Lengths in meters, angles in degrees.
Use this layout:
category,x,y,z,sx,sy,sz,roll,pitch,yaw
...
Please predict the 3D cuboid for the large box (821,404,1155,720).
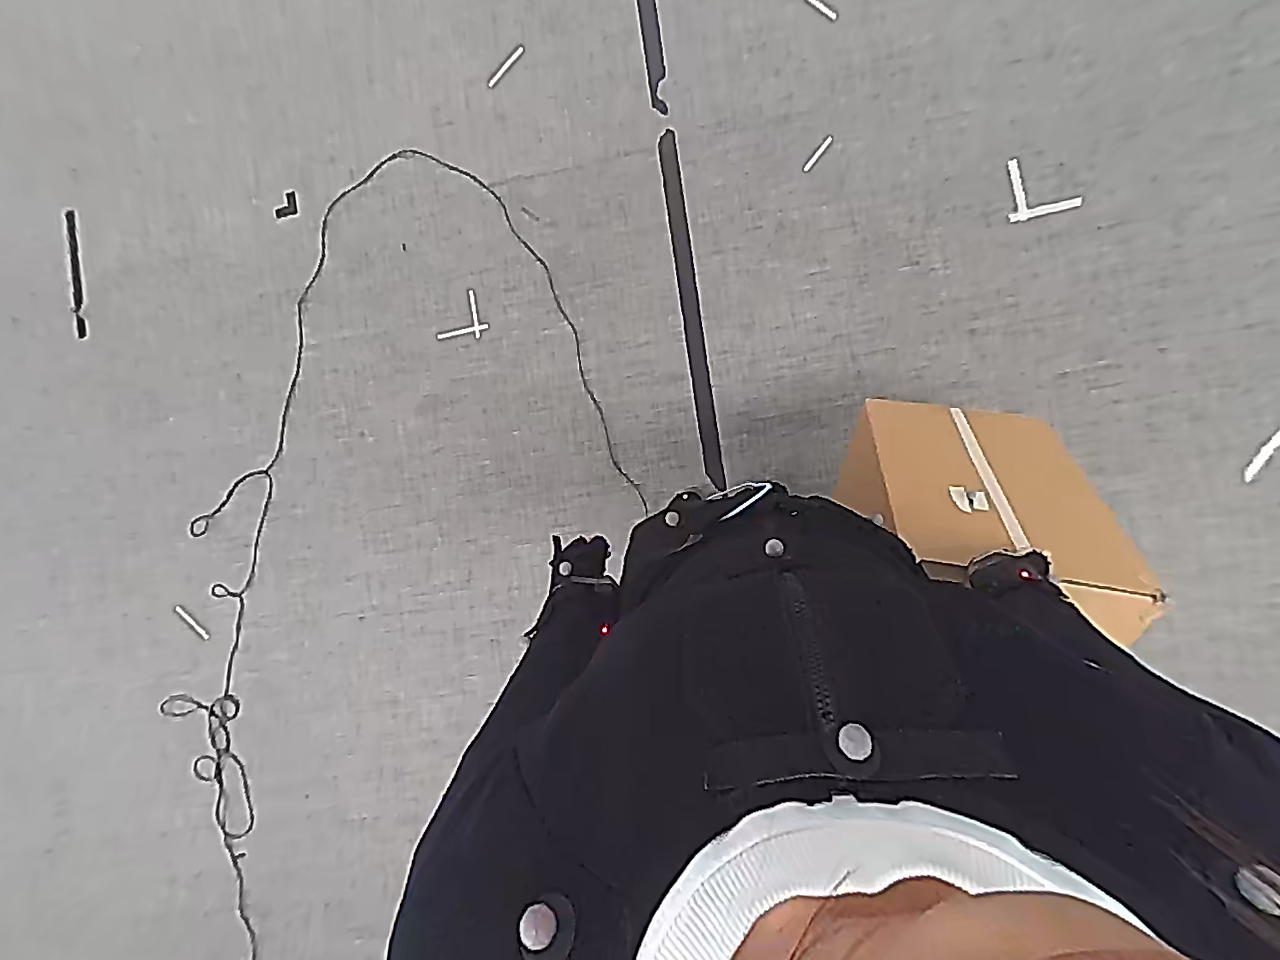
category,x,y,z,sx,sy,sz,roll,pitch,yaw
large box,0.510,0.121,0.919,0.320,0.408,0.320,8,131,8
